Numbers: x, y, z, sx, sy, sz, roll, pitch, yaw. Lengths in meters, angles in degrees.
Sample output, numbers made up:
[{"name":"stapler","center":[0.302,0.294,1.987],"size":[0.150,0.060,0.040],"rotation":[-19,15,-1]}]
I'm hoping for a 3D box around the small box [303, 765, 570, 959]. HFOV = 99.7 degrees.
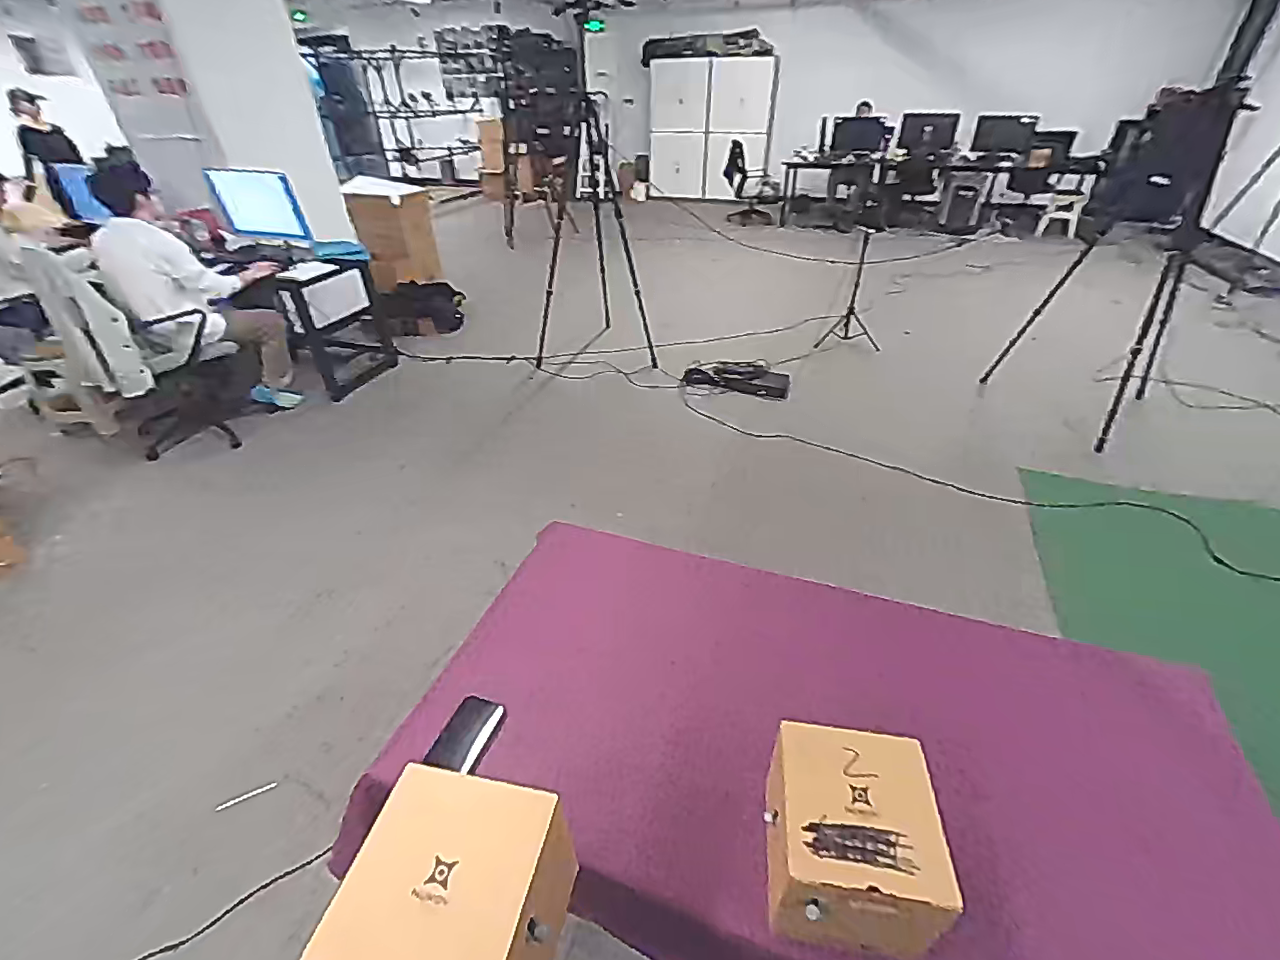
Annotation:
[{"name":"small box","center":[-0.173,0.418,0.524],"size":[0.168,0.176,0.179],"rotation":[6,38,12]}]
